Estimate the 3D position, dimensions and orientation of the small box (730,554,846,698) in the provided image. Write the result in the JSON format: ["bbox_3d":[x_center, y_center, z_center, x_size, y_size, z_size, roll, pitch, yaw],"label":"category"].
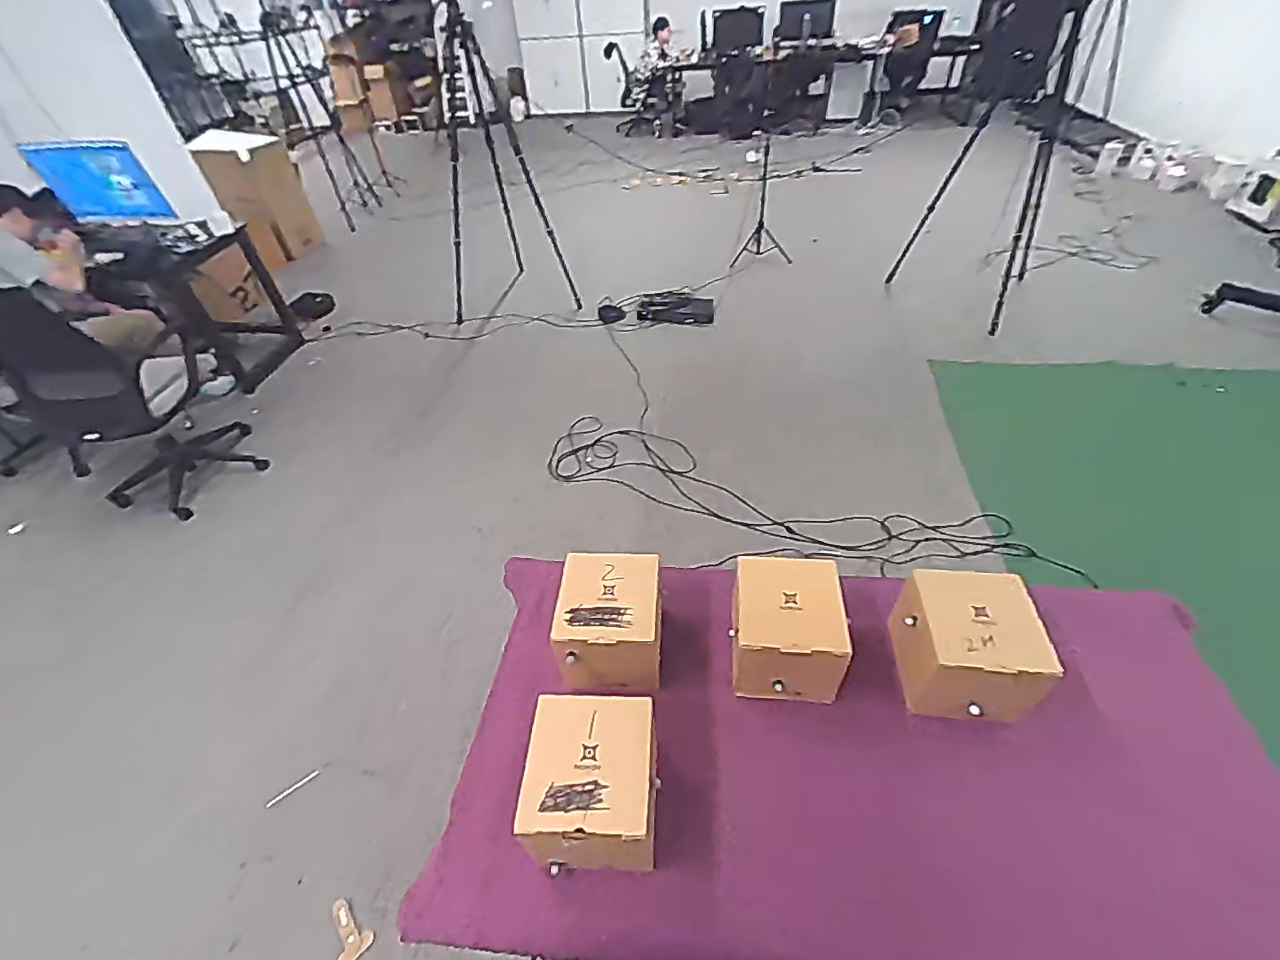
[{"bbox_3d":[0.242,0.250,0.929,0.168,0.176,0.179,2,46,7],"label":"small box"}]

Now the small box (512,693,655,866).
[{"bbox_3d":[-0.067,0.428,0.773,0.168,0.176,0.179,-1,42,5],"label":"small box"}]

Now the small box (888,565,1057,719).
[{"bbox_3d":[0.521,0.262,0.882,0.168,0.176,0.179,2,45,9],"label":"small box"}]
